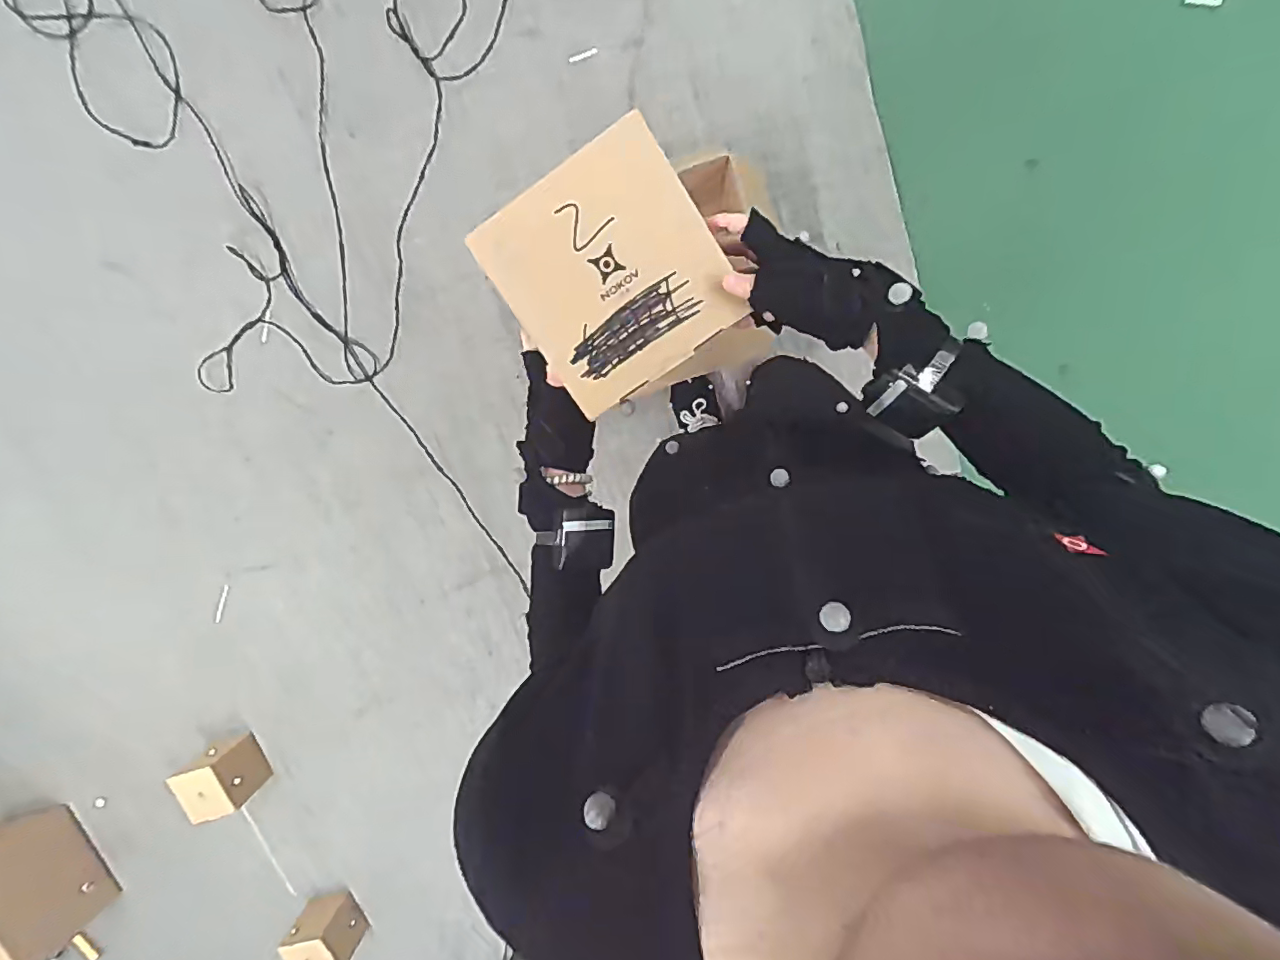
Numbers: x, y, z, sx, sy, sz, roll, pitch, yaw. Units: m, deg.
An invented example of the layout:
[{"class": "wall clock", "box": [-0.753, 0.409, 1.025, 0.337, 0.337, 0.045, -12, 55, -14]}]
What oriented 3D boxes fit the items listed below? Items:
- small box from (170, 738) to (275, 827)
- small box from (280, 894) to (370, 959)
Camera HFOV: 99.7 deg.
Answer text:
[{"class": "small box", "box": [-1.336, 0.964, 1.744, 0.168, 0.176, 0.179, -19, 101, 8]}, {"class": "small box", "box": [-1.081, 1.587, 1.870, 0.179, 0.176, 0.168, -19, 101, 9]}]
